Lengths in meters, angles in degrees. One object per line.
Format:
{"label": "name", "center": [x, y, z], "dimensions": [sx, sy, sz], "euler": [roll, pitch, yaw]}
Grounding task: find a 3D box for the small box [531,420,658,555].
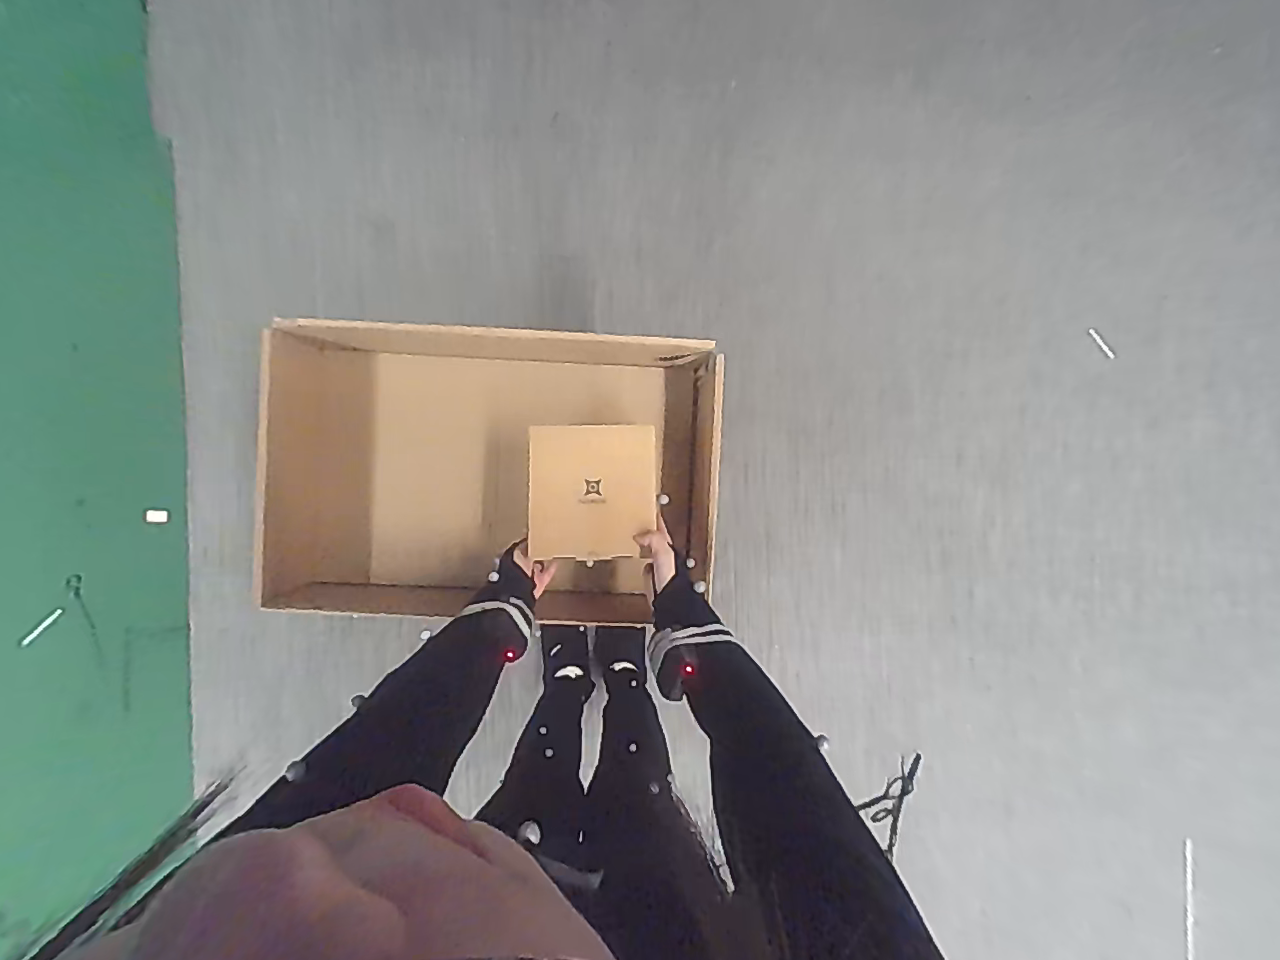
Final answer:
{"label": "small box", "center": [-0.060, 0.016, 0.777], "dimensions": [0.168, 0.176, 0.179], "euler": [0, 86, -1]}
